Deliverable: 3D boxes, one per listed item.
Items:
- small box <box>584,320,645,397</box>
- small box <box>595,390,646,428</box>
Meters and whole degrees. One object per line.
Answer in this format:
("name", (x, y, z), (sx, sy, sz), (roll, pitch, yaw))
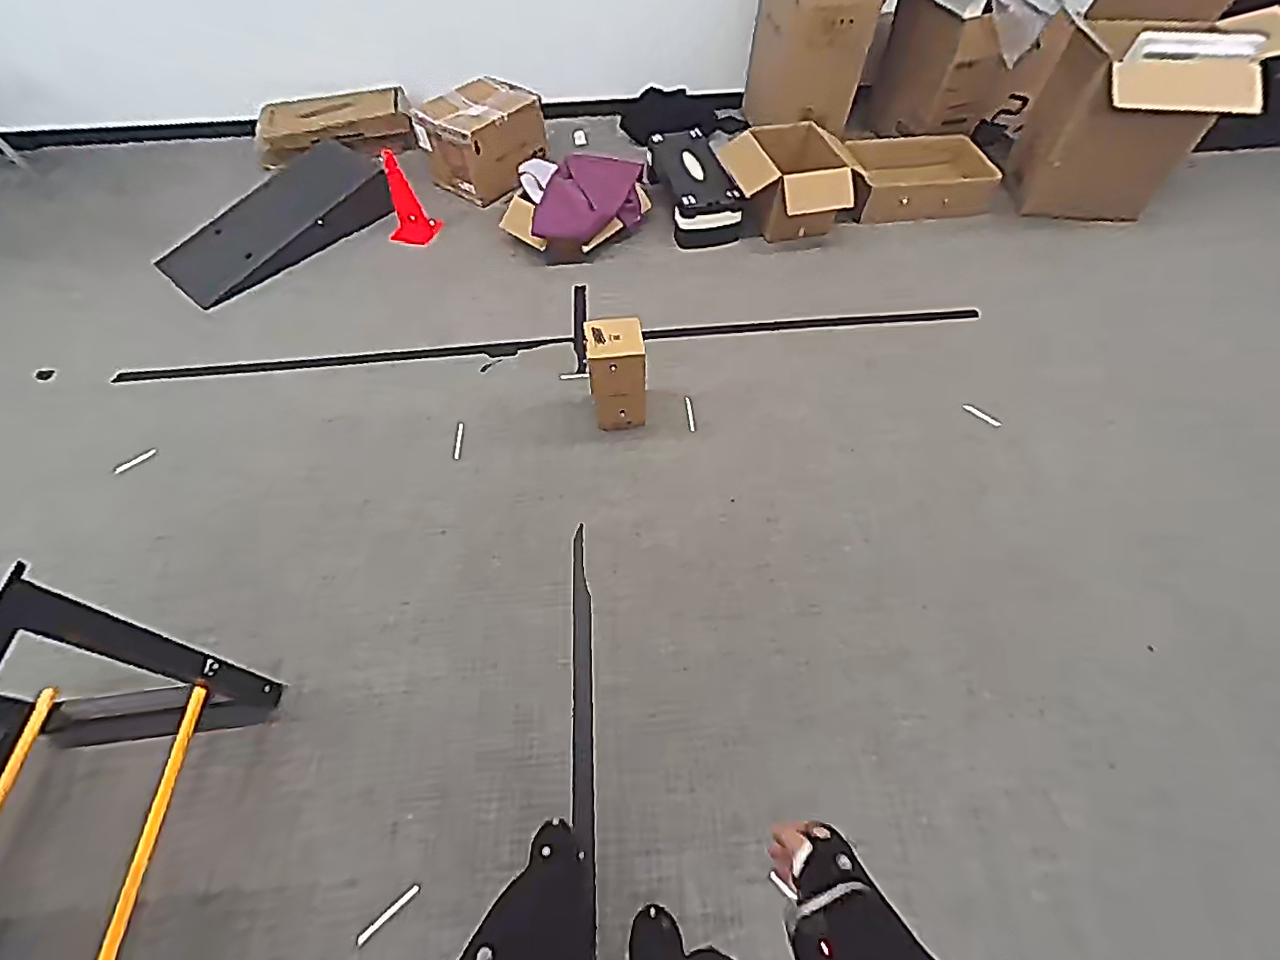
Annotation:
("small box", (-0.079, -0.379, 1.705), (0.179, 0.176, 0.168), (-6, 56, -4))
("small box", (-0.071, -0.290, 1.845), (0.168, 0.176, 0.179), (-7, 57, -4))
